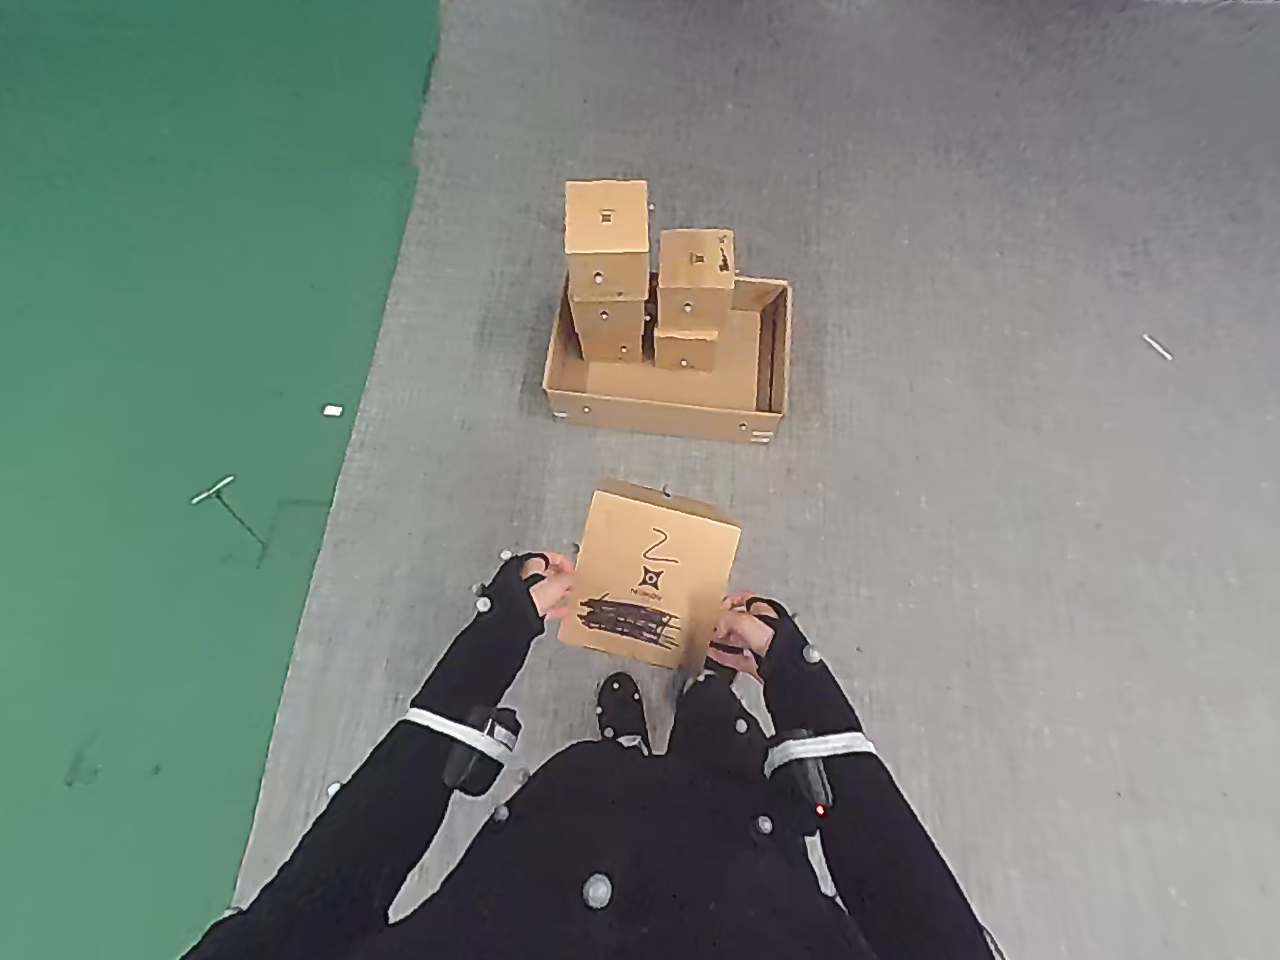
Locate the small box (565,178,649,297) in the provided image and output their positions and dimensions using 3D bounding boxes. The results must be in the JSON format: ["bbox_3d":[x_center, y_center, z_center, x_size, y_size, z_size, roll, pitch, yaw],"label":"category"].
[{"bbox_3d":[-0.065,-0.507,1.153,0.168,0.176,0.179,-1,74,1],"label":"small box"}]

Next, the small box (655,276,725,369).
[{"bbox_3d":[0.133,-0.422,1.462,0.168,0.176,0.179,5,74,6],"label":"small box"}]

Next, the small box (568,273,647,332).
[{"bbox_3d":[-0.070,-0.475,1.313,0.179,0.176,0.168,2,75,3],"label":"small box"}]
